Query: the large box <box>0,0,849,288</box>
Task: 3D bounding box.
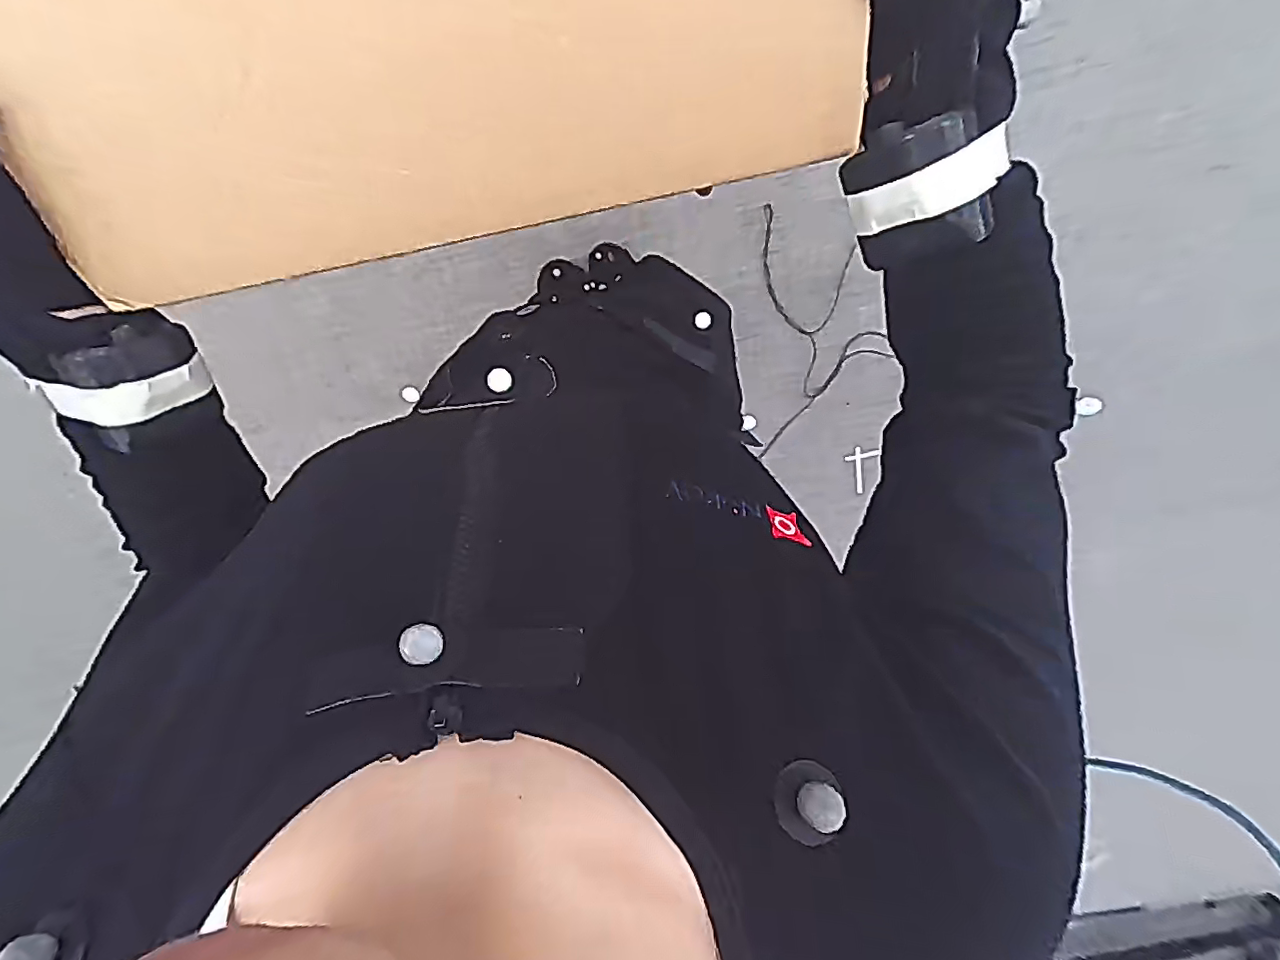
[{"bbox_3d":[-0.128,-0.353,0.303,0.408,0.320,0.320,-10,130,3],"label":"large box"}]
